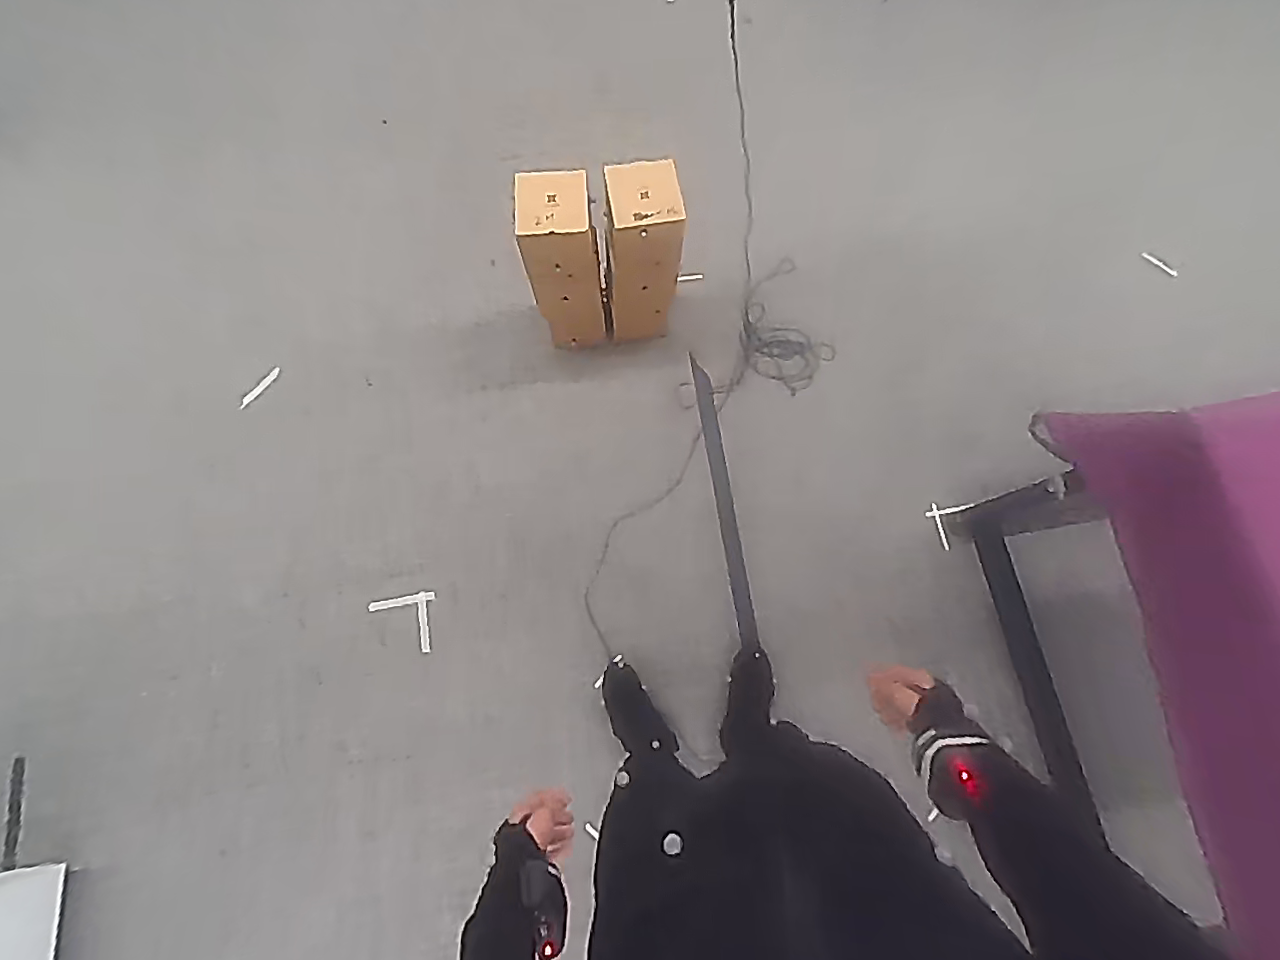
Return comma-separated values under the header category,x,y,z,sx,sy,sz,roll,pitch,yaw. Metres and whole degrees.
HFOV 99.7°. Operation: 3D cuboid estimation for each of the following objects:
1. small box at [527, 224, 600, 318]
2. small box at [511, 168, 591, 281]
category,x,y,z,sx,sy,sz,roll,pitch,yaw
small box,-0.199,-0.551,1.440,0.179,0.176,0.168,-5,74,0
small box,-0.206,-0.601,1.283,0.168,0.176,0.179,-4,75,0
